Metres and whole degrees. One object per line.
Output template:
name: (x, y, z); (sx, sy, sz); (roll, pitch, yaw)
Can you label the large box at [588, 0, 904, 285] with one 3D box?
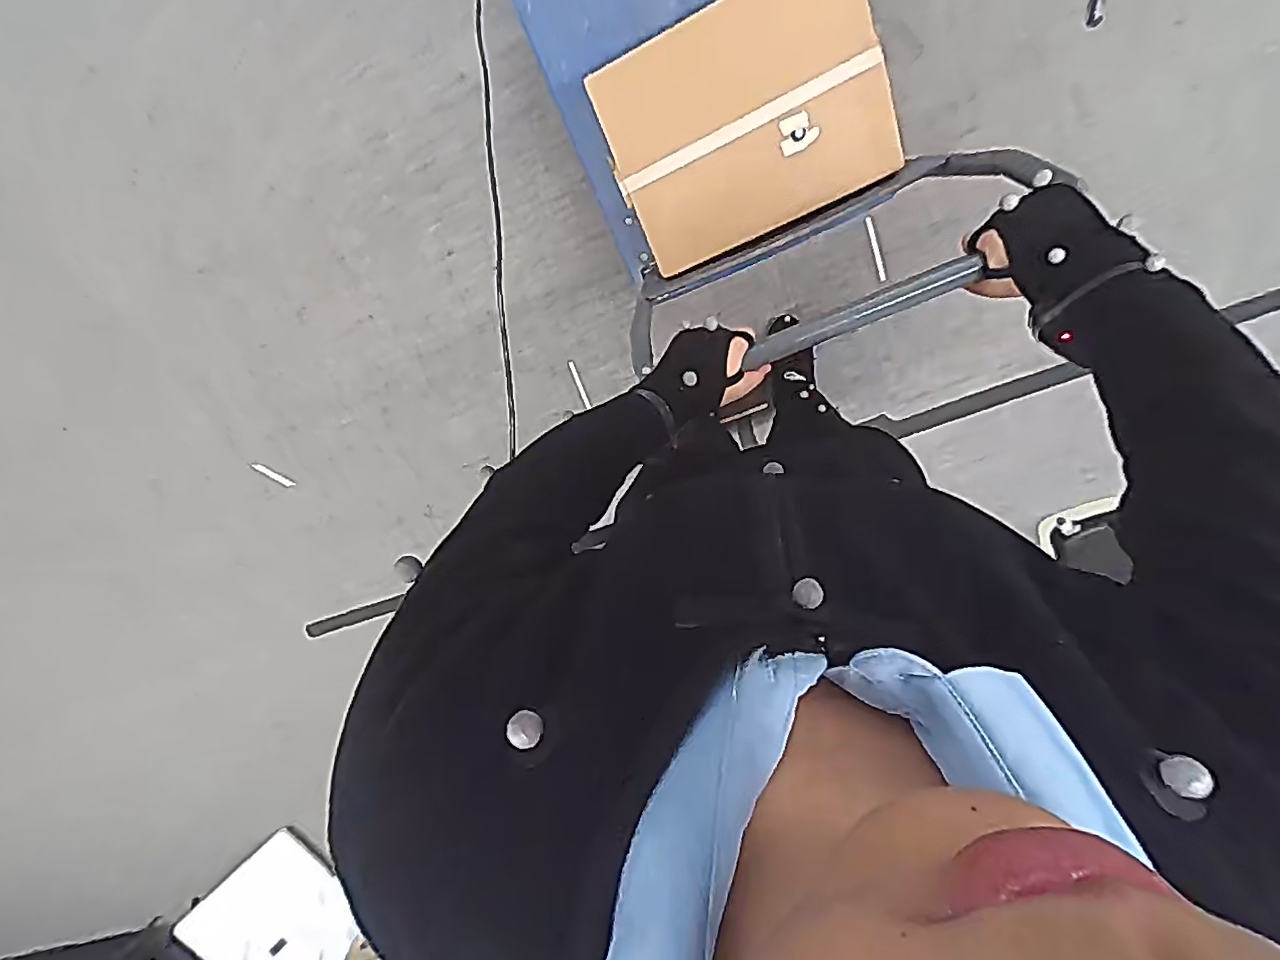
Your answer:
large box: (0.170, -0.585, 0.946); (0.408, 0.320, 0.320); (-21, 112, 14)
